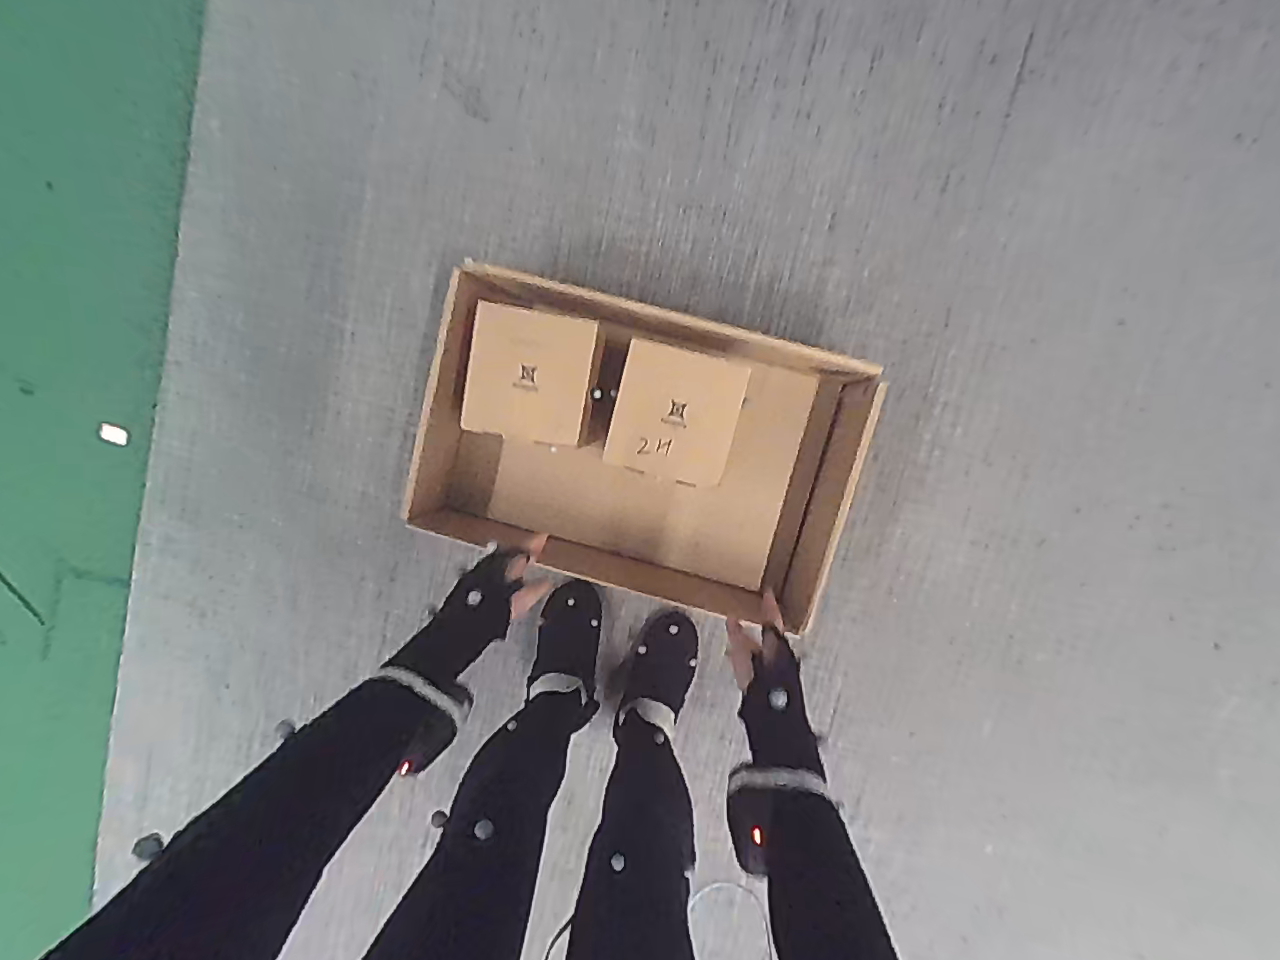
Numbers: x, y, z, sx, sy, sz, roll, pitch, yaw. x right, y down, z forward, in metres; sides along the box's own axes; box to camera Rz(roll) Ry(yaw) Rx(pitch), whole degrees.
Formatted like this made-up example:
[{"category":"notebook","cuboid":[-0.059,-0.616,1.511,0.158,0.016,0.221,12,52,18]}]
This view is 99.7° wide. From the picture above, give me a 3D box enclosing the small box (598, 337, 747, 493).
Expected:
[{"category":"small box","cuboid":[0.048,-0.095,0.802,0.168,0.176,0.179,15,97,3]}]
